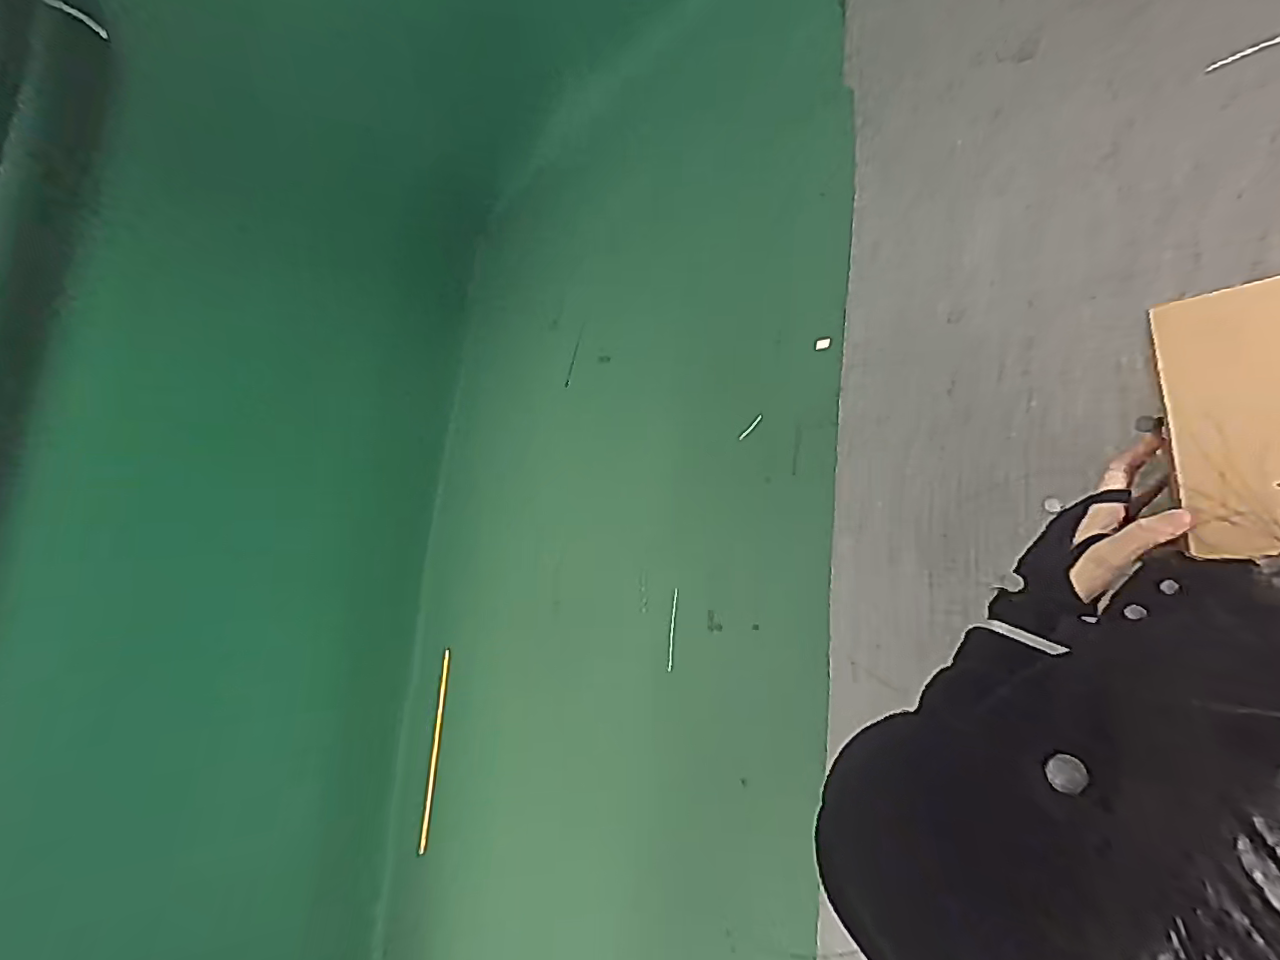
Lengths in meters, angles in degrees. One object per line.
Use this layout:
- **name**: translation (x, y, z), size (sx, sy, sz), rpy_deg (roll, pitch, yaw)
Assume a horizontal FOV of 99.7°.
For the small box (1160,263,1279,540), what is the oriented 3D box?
- **small box**: translation (0.484, -0.053, 0.373), size (0.168, 0.176, 0.179), rpy_deg (-9, 84, 43)
